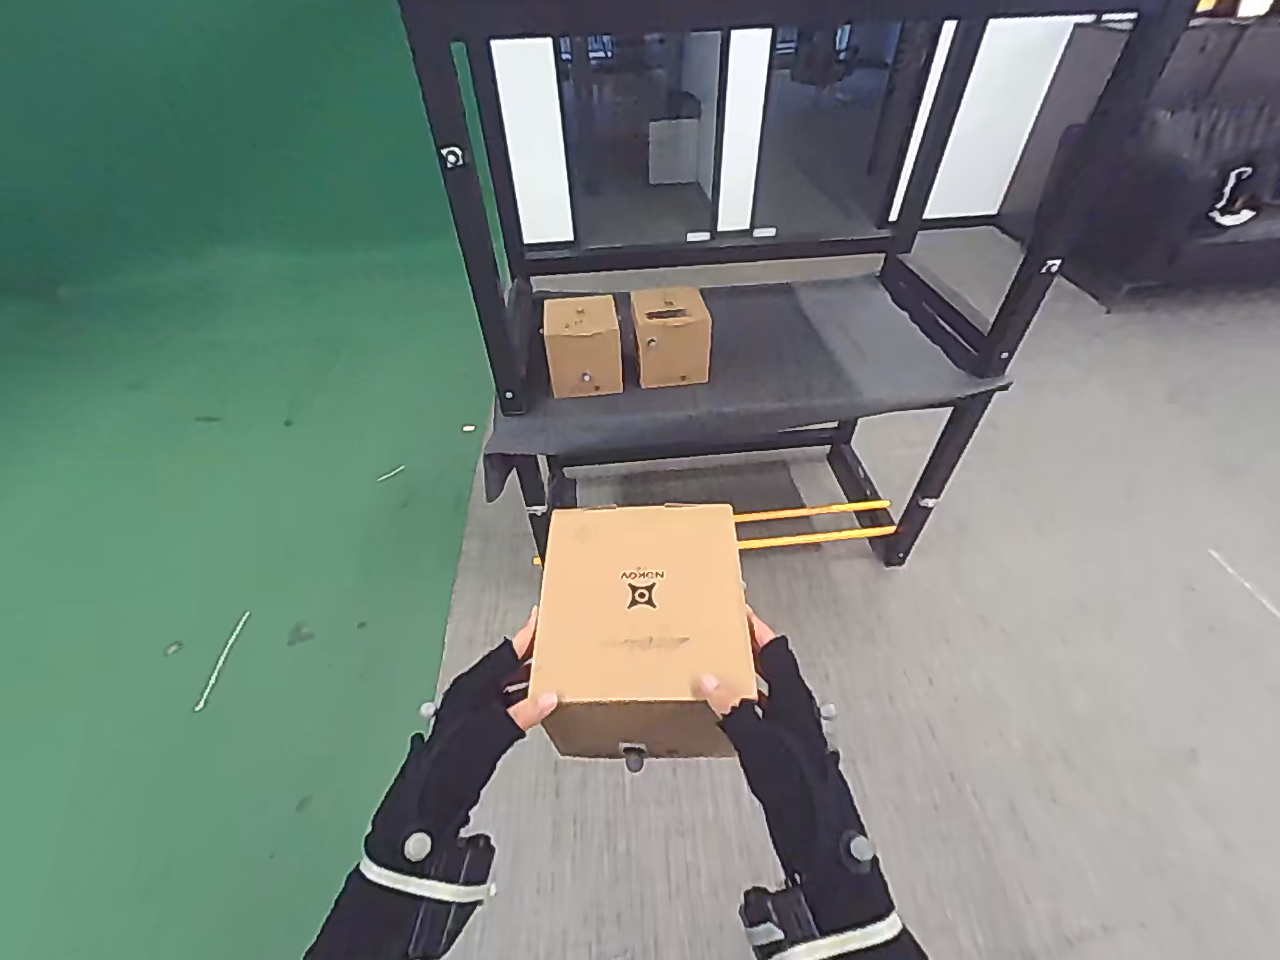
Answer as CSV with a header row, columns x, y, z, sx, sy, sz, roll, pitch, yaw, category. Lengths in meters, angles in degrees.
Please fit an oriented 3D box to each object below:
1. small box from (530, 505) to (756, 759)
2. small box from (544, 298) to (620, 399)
x,y,z,sx,sy,sz,roll,pitch,yaw,category
0.005,0.141,0.500,0.168,0.176,0.179,-2,50,2,small box
-0.137,-0.312,1.285,0.168,0.176,0.179,-6,45,-5,small box
